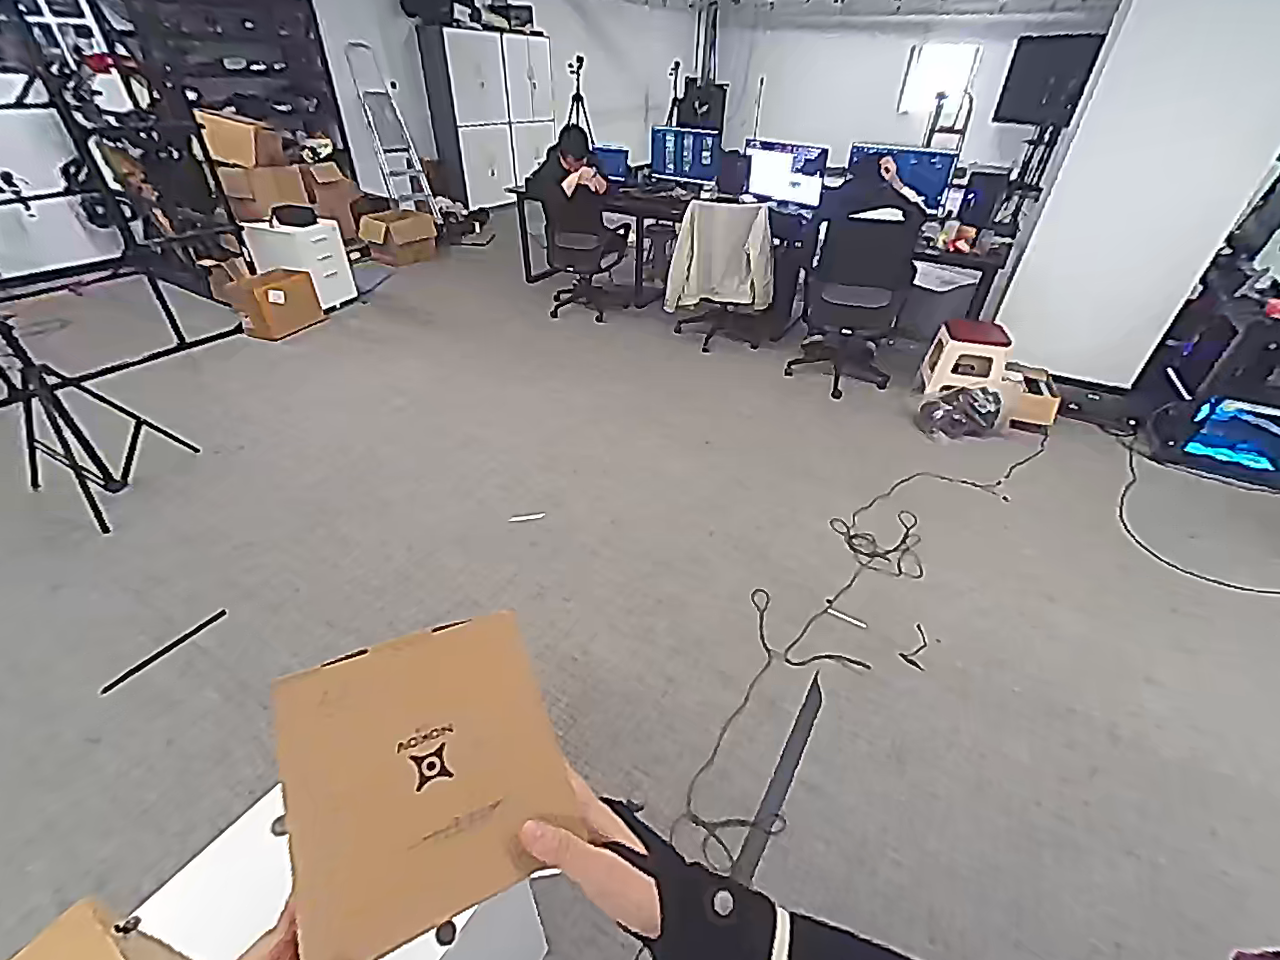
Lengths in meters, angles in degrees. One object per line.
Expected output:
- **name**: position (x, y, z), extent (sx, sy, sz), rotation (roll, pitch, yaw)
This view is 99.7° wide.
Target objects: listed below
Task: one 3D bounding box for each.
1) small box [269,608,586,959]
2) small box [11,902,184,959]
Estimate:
- **small box**: position (-0.163, 0.229, 0.413), extent (0.168, 0.176, 0.179), rotation (-13, 60, -28)
- **small box**: position (-0.479, 0.516, 0.454), extent (0.179, 0.176, 0.168), rotation (20, 41, 24)
